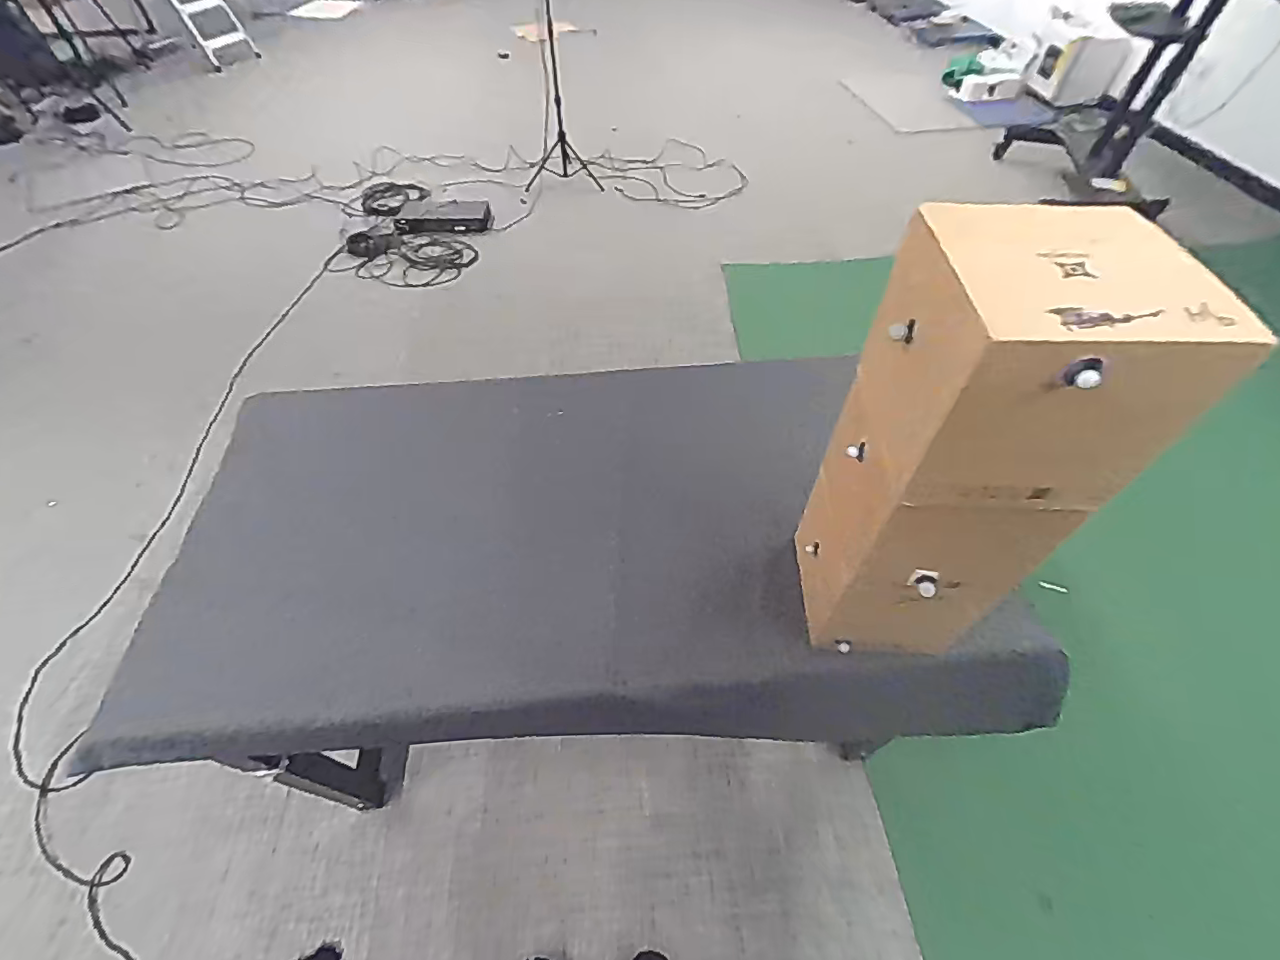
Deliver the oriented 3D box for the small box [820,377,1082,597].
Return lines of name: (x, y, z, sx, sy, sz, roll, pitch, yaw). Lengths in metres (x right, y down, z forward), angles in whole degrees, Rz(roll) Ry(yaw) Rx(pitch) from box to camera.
small box: (0.300, 0.005, 0.575, 0.168, 0.176, 0.179, 2, 53, 3)

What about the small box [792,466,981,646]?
small box: (0.304, 0.102, 0.704, 0.168, 0.176, 0.179, 2, 51, 2)

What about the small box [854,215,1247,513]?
small box: (0.293, -0.095, 0.445, 0.168, 0.176, 0.179, 2, 51, 3)
